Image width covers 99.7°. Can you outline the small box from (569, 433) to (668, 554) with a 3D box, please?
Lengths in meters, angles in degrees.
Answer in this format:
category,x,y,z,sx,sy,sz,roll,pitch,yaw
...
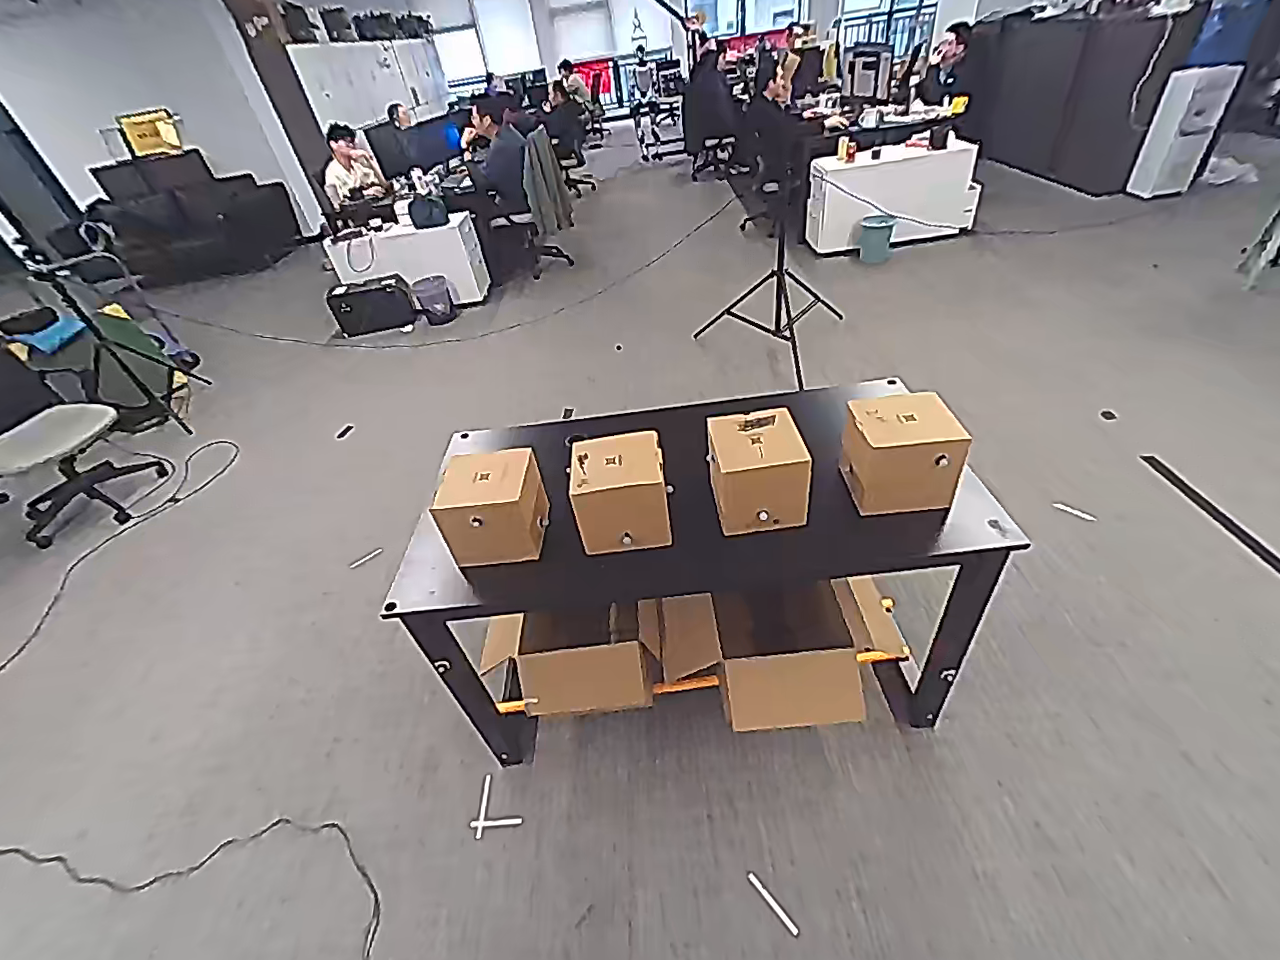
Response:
category,x,y,z,sx,sy,sz,roll,pitch,yaw
small box,-0.038,0.028,1.086,0.179,0.176,0.168,-7,39,2

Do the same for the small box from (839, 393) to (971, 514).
category,x,y,z,sx,sy,sz,roll,pitch,yaw
small box,0.508,-0.051,1.066,0.179,0.176,0.168,-6,38,6

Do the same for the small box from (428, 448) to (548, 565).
category,x,y,z,sx,sy,sz,roll,pitch,yaw
small box,-0.299,0.057,1.104,0.179,0.176,0.168,-6,41,3

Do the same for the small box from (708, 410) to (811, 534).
category,x,y,z,sx,sy,sz,roll,pitch,yaw
small box,0.231,-0.016,1.083,0.168,0.176,0.179,-8,40,2
